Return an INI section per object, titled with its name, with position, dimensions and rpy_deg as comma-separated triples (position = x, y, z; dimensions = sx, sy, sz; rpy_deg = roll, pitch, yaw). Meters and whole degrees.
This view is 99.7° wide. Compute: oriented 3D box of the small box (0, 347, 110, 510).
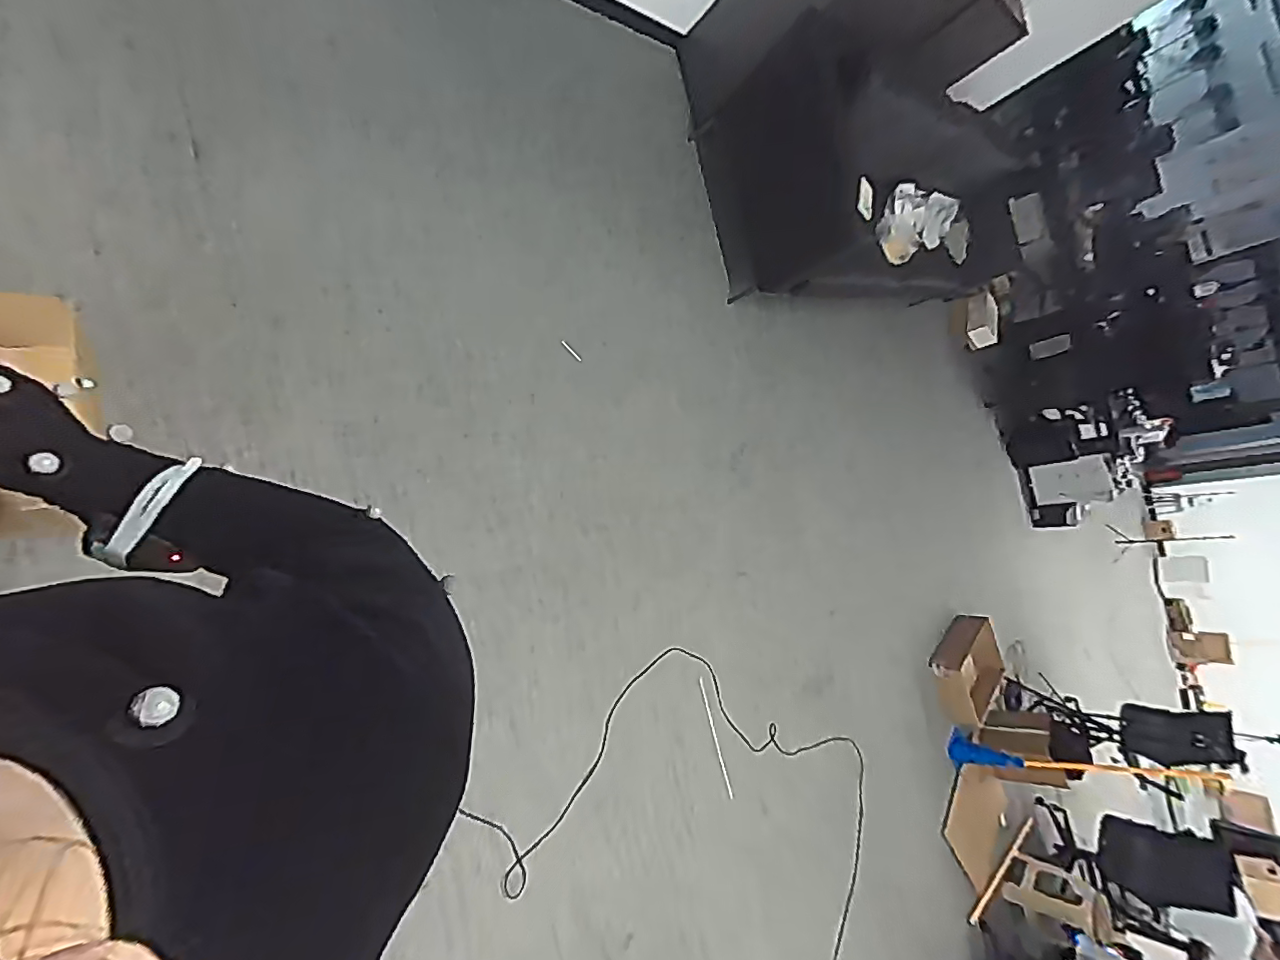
[small box]
position = -0.799, -0.056, 0.678
dimensions = 0.168, 0.176, 0.179
rpy_deg = -11, 88, -41
